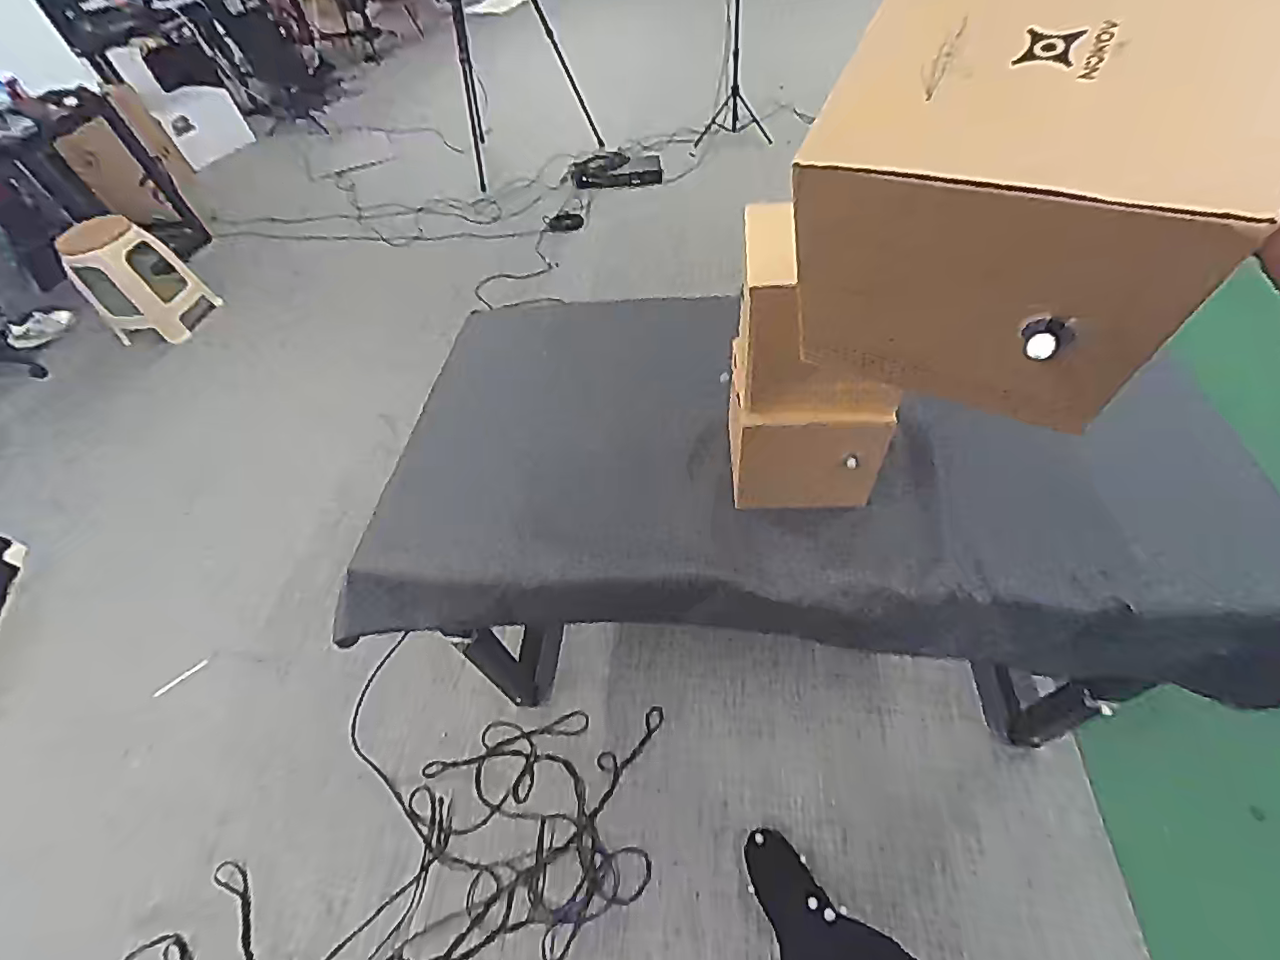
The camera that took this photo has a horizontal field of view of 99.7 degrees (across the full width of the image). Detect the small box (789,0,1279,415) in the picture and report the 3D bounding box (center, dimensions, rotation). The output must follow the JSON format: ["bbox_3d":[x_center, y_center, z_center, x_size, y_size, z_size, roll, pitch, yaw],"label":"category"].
[{"bbox_3d":[0.202,-0.158,0.308,0.179,0.176,0.168,22,75,25],"label":"small box"}]

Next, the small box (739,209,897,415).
[{"bbox_3d":[0.202,-0.187,0.612,0.179,0.176,0.168,1,51,8],"label":"small box"}]
